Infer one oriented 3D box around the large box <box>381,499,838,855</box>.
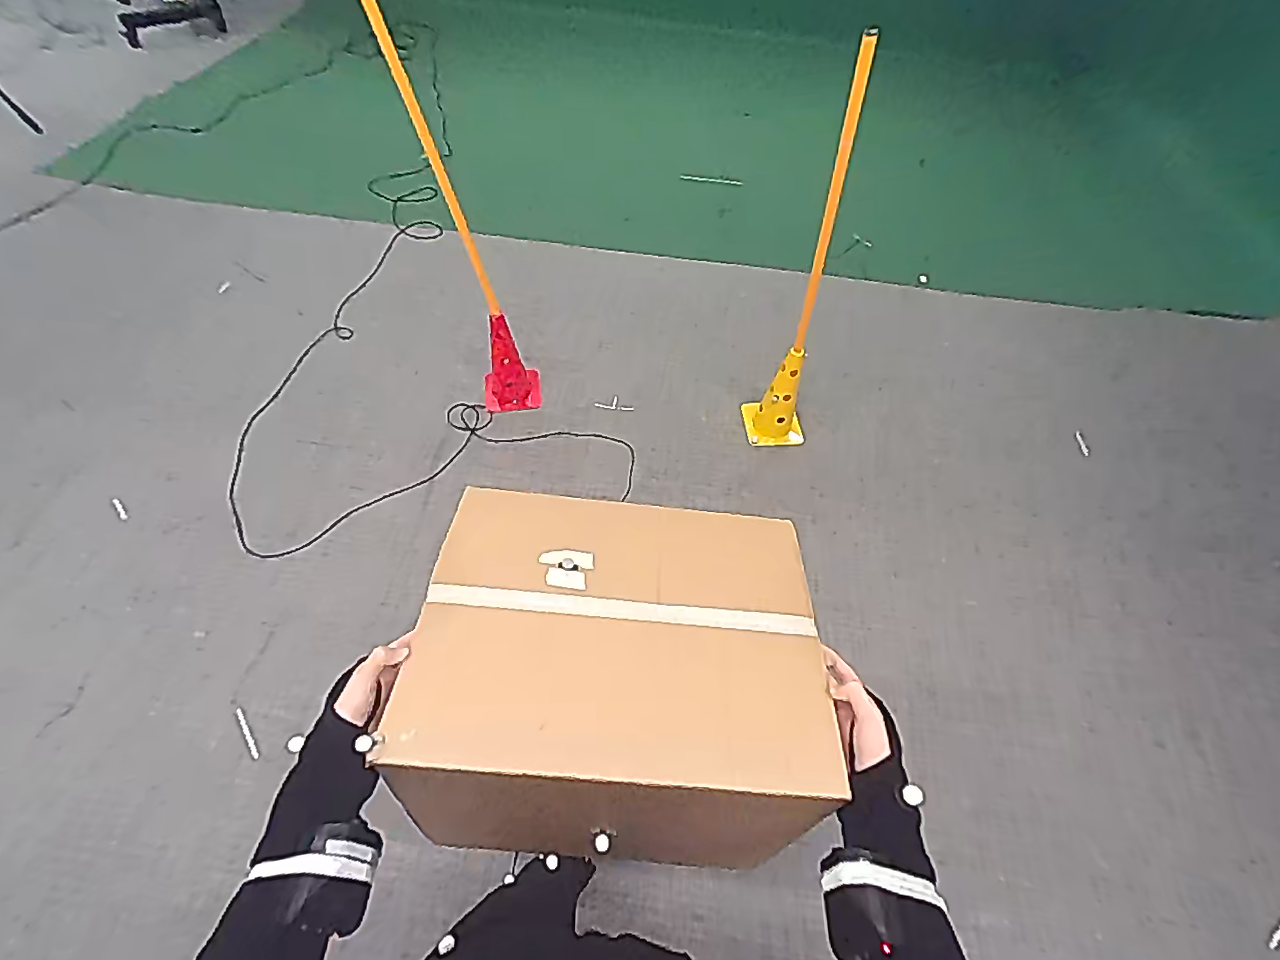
[{"bbox_3d":[-0.030,0.251,0.673,0.408,0.320,0.320,5,44,-2],"label":"large box"}]
